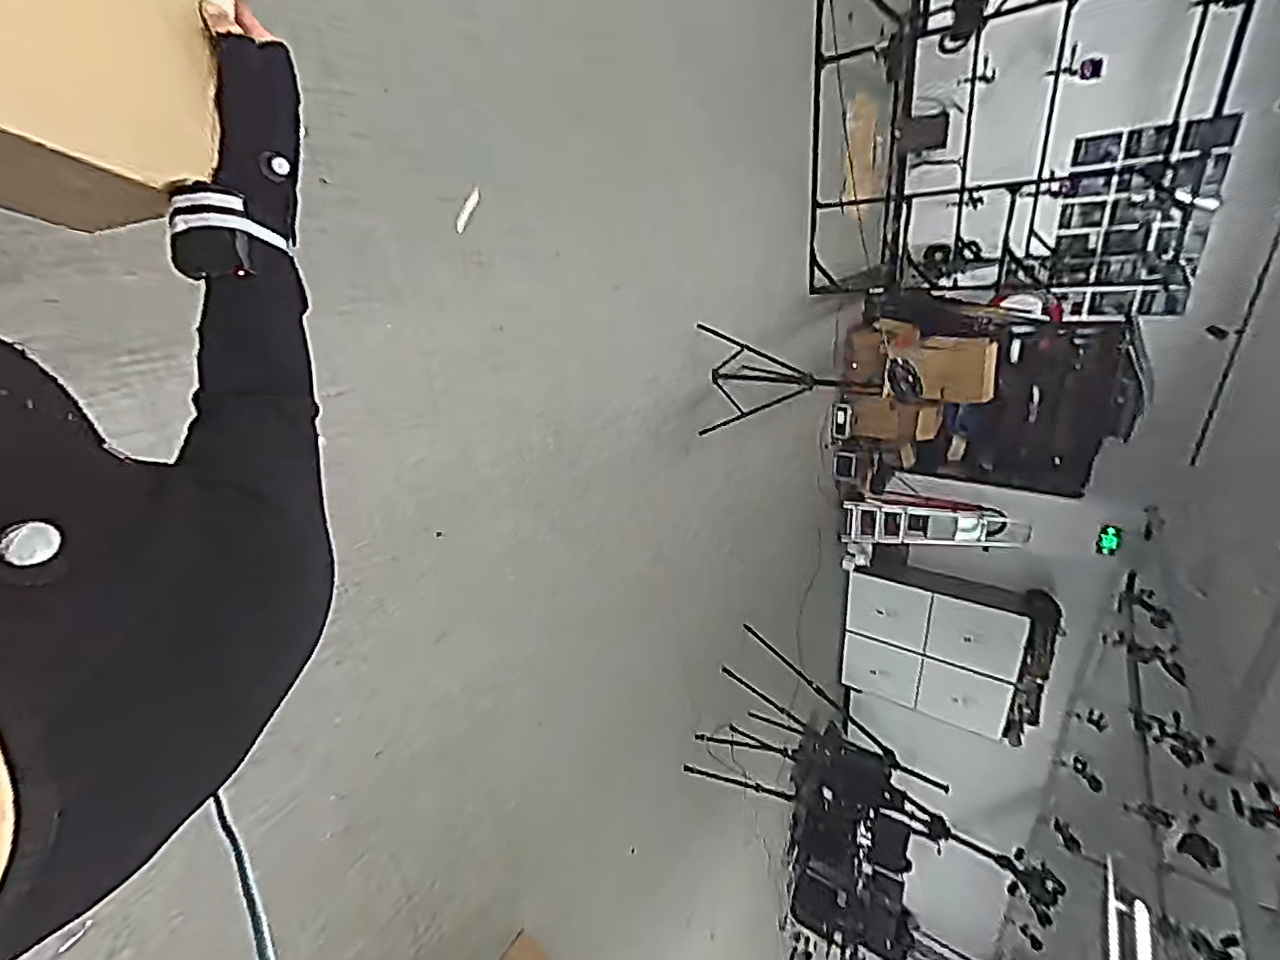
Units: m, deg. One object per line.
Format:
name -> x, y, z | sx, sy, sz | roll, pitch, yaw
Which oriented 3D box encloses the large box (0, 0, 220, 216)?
large box -> -0.562, -0.414, 0.336 | 0.408, 0.320, 0.320 | 2, 98, -59
